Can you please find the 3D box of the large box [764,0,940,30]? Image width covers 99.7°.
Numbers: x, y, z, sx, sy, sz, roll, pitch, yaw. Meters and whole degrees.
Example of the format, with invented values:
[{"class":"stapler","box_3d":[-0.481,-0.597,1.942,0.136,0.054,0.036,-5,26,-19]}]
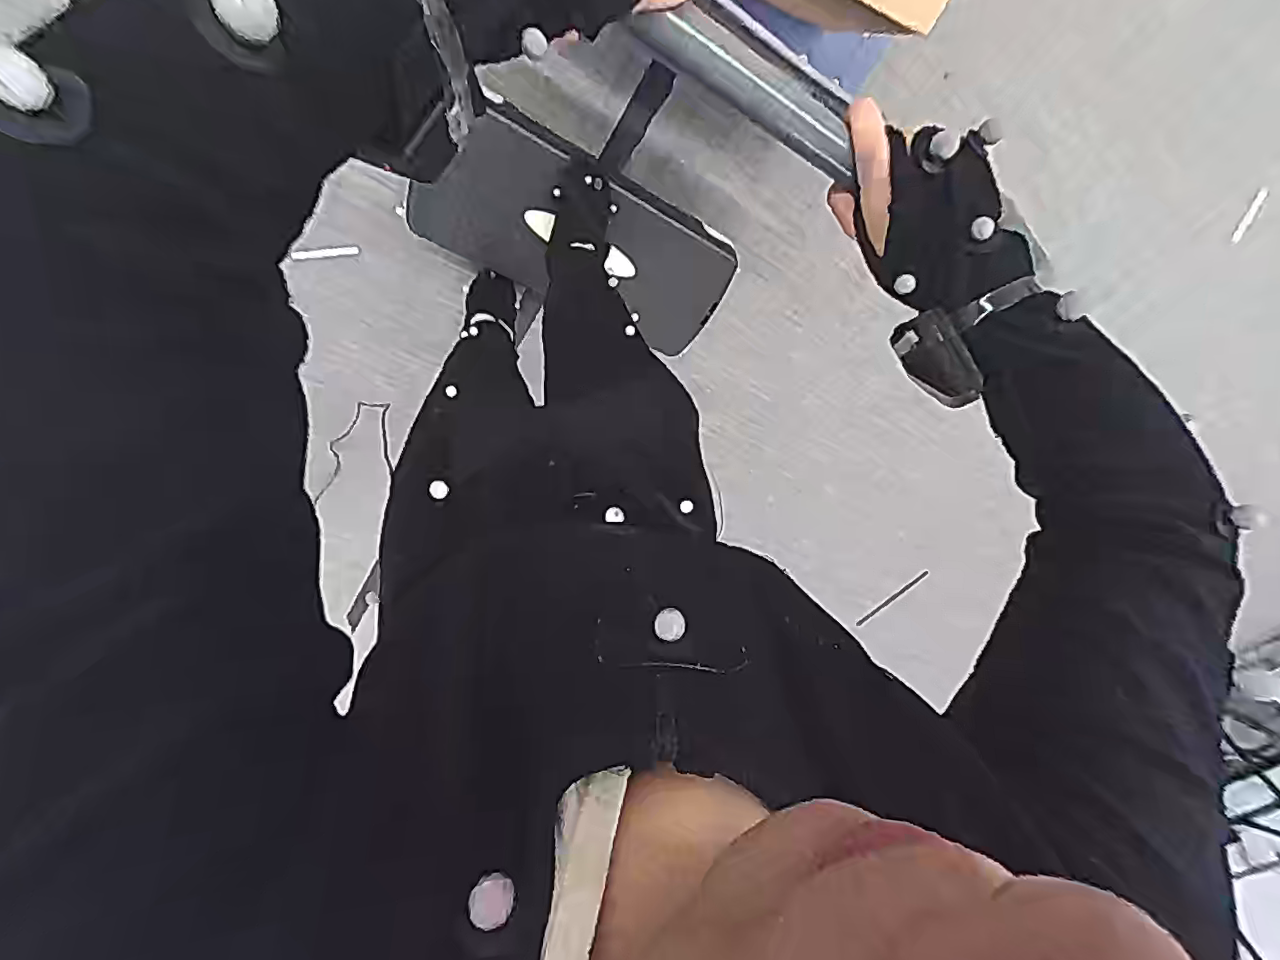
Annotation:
[{"class":"large box","box_3d":[0.175,-0.770,0.602,0.408,0.320,0.320,10,128,-19]}]
